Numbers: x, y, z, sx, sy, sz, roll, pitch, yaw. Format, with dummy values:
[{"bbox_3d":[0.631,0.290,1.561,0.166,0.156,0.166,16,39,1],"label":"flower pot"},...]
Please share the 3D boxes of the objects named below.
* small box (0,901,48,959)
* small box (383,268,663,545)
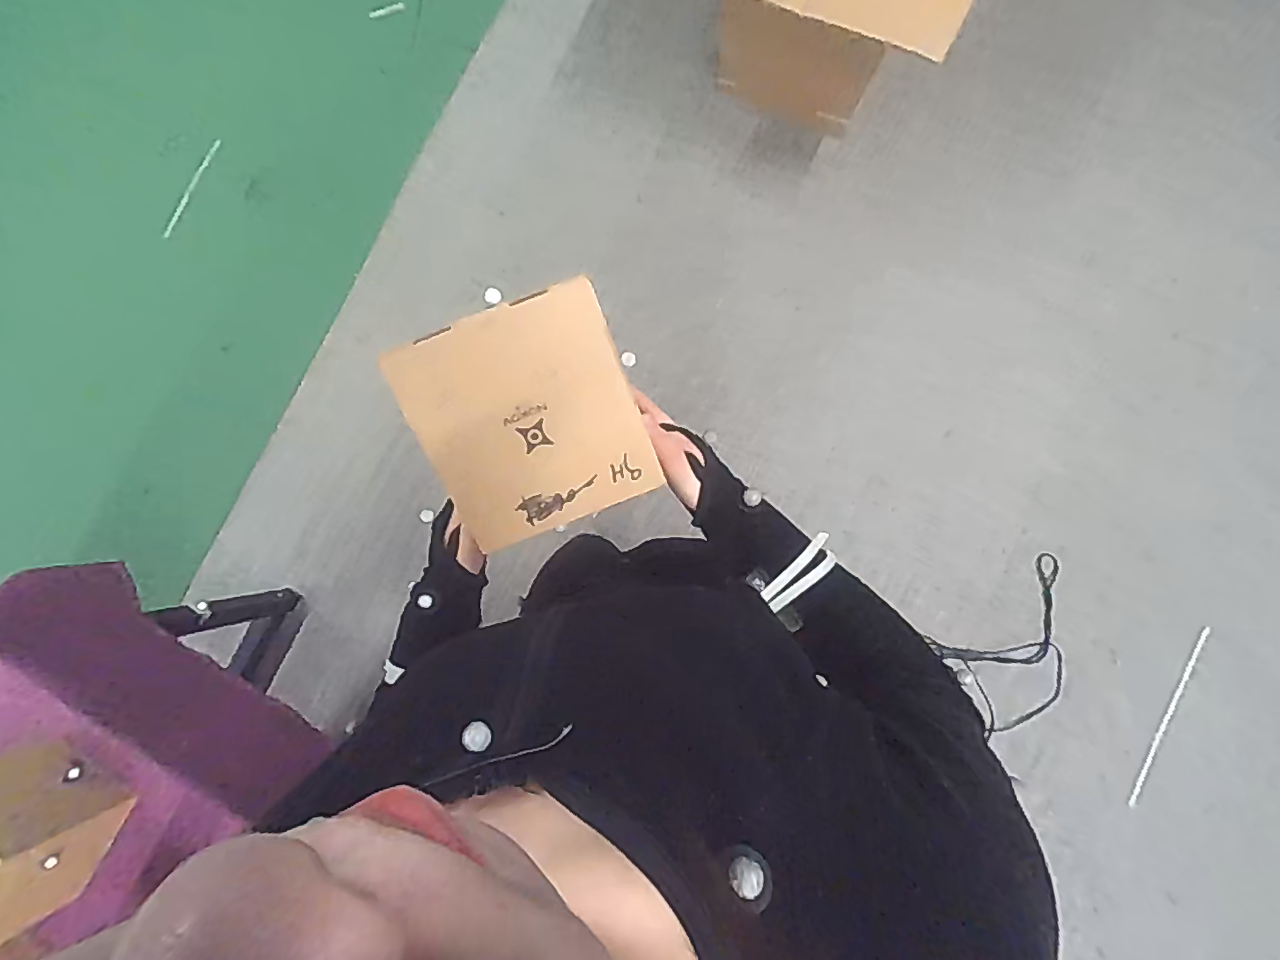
[{"bbox_3d":[-0.987,0.731,0.740,0.168,0.176,0.179,31,89,7],"label":"small box"},{"bbox_3d":[-0.092,-0.074,0.491,0.168,0.176,0.179,-20,110,2],"label":"small box"}]
